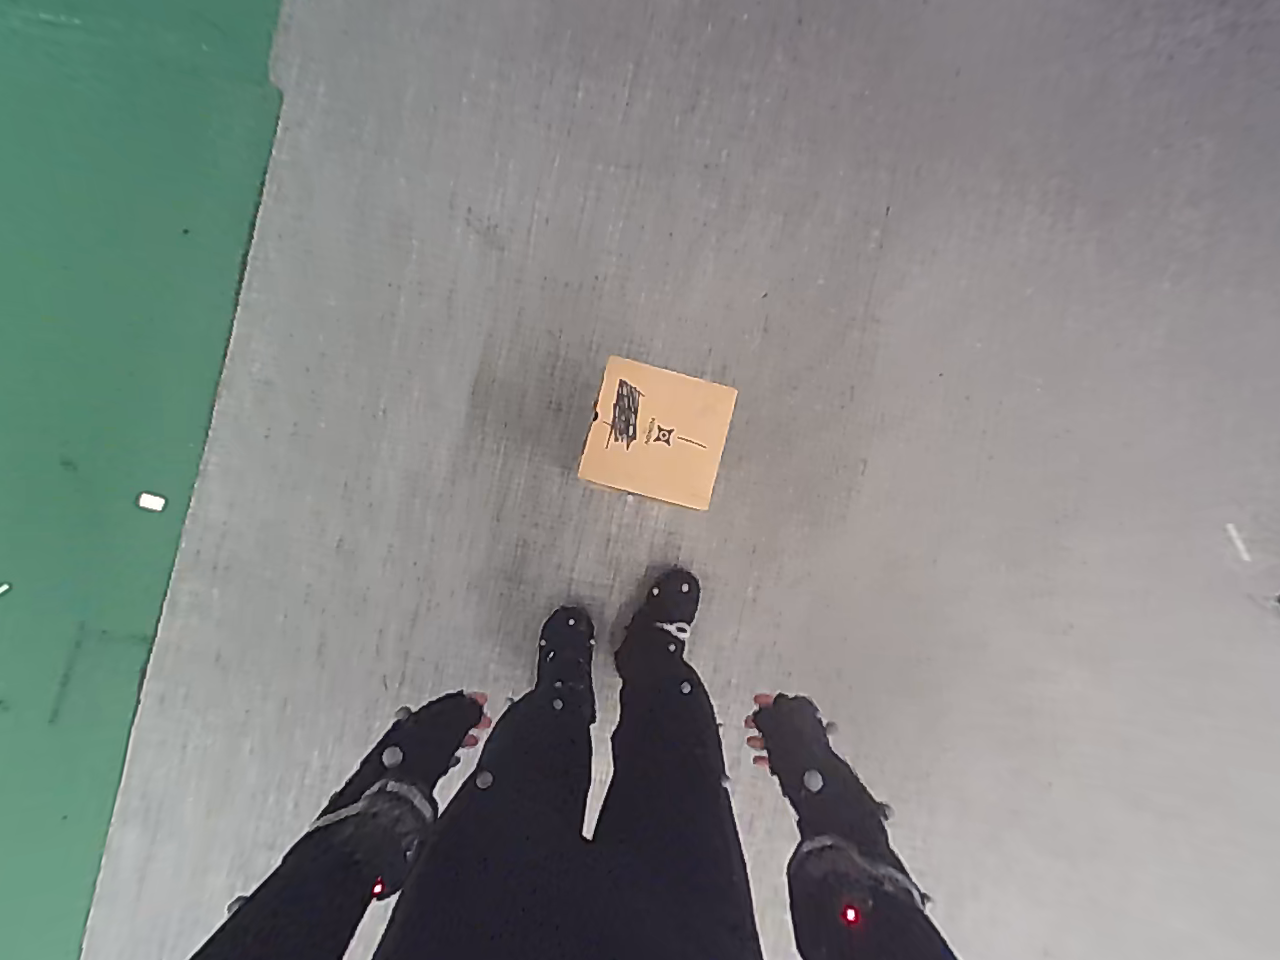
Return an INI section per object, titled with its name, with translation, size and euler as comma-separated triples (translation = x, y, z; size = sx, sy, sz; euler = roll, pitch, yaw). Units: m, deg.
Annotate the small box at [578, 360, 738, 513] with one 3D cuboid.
[small box]
translation = 0.020, -0.052, 0.777
size = 0.179, 0.176, 0.168
euler = 15, 87, -2
